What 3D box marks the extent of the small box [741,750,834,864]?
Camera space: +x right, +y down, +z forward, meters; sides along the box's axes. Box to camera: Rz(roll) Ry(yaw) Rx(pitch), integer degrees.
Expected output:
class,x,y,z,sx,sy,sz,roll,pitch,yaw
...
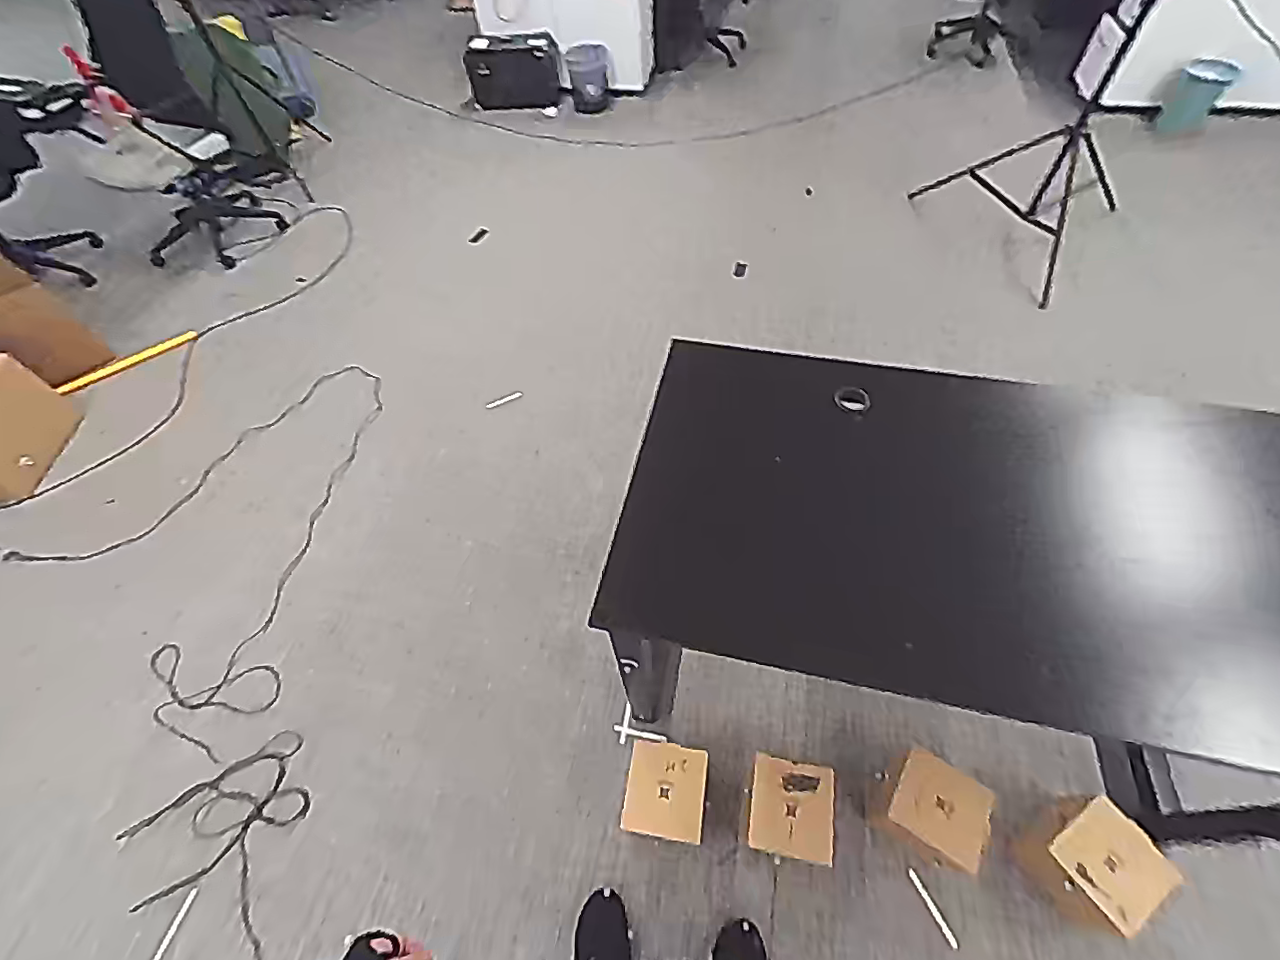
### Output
class,x,y,z,sx,sy,sz,roll,pitch,yaw
small box,0.318,0.712,1.179,0.168,0.176,0.179,8,58,9

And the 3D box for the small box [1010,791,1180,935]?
class,x,y,z,sx,sy,sz,roll,pitch,yaw
small box,0.908,0.768,1.100,0.179,0.176,0.168,-30,59,-16

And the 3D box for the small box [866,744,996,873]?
class,x,y,z,sx,sy,sz,roll,pitch,yaw
small box,0.619,0.705,1.166,0.179,0.176,0.168,27,61,21
